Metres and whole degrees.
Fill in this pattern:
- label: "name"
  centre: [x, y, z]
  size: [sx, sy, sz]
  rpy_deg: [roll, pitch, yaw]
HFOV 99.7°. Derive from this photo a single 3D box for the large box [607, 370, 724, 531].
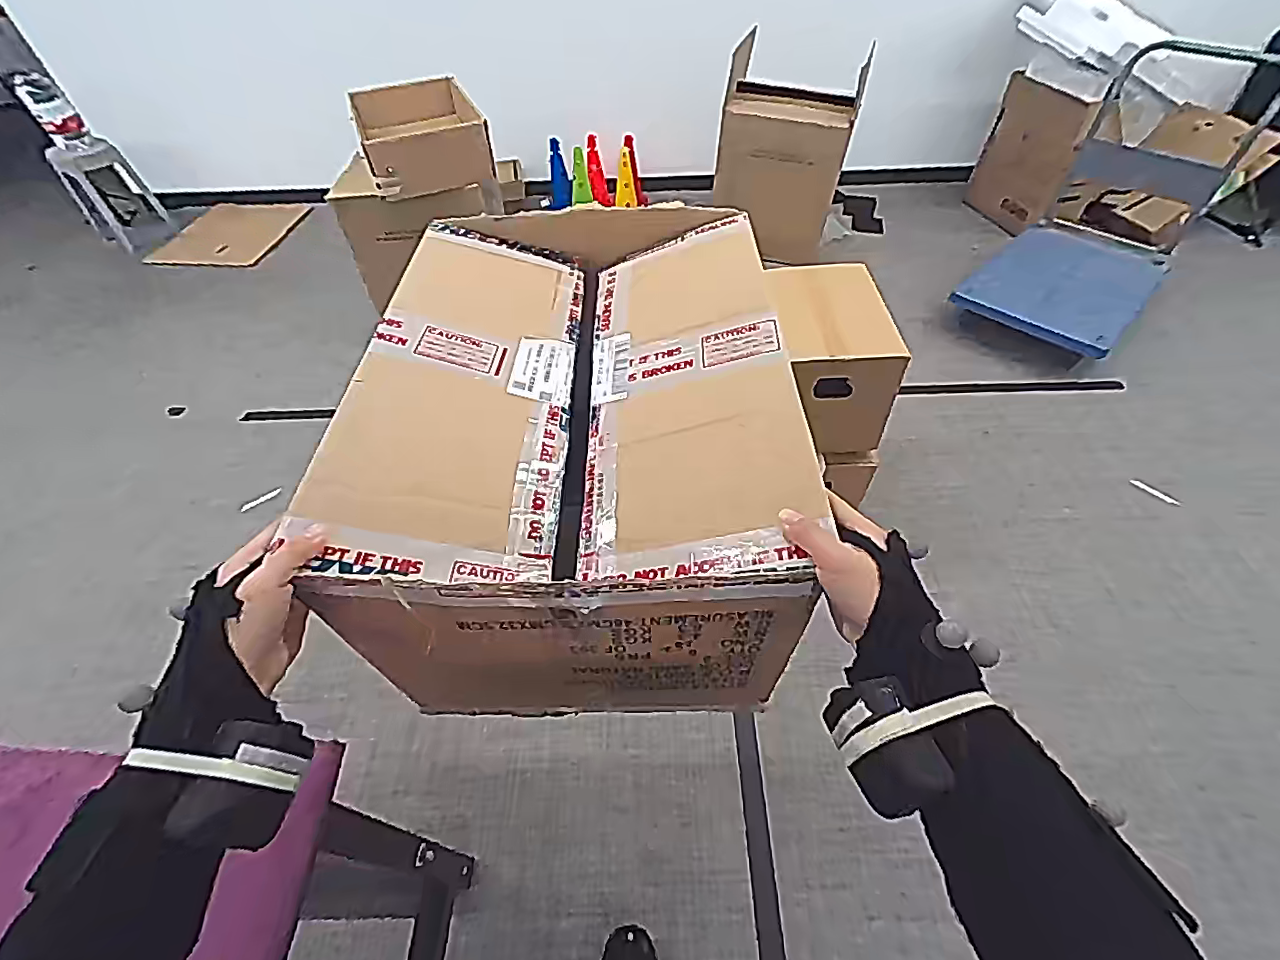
- label: "large box"
  centre: [0.066, -0.095, 1.682]
  size: [0.320, 0.320, 0.408]
  rpy_deg: [-3, 50, 0]
